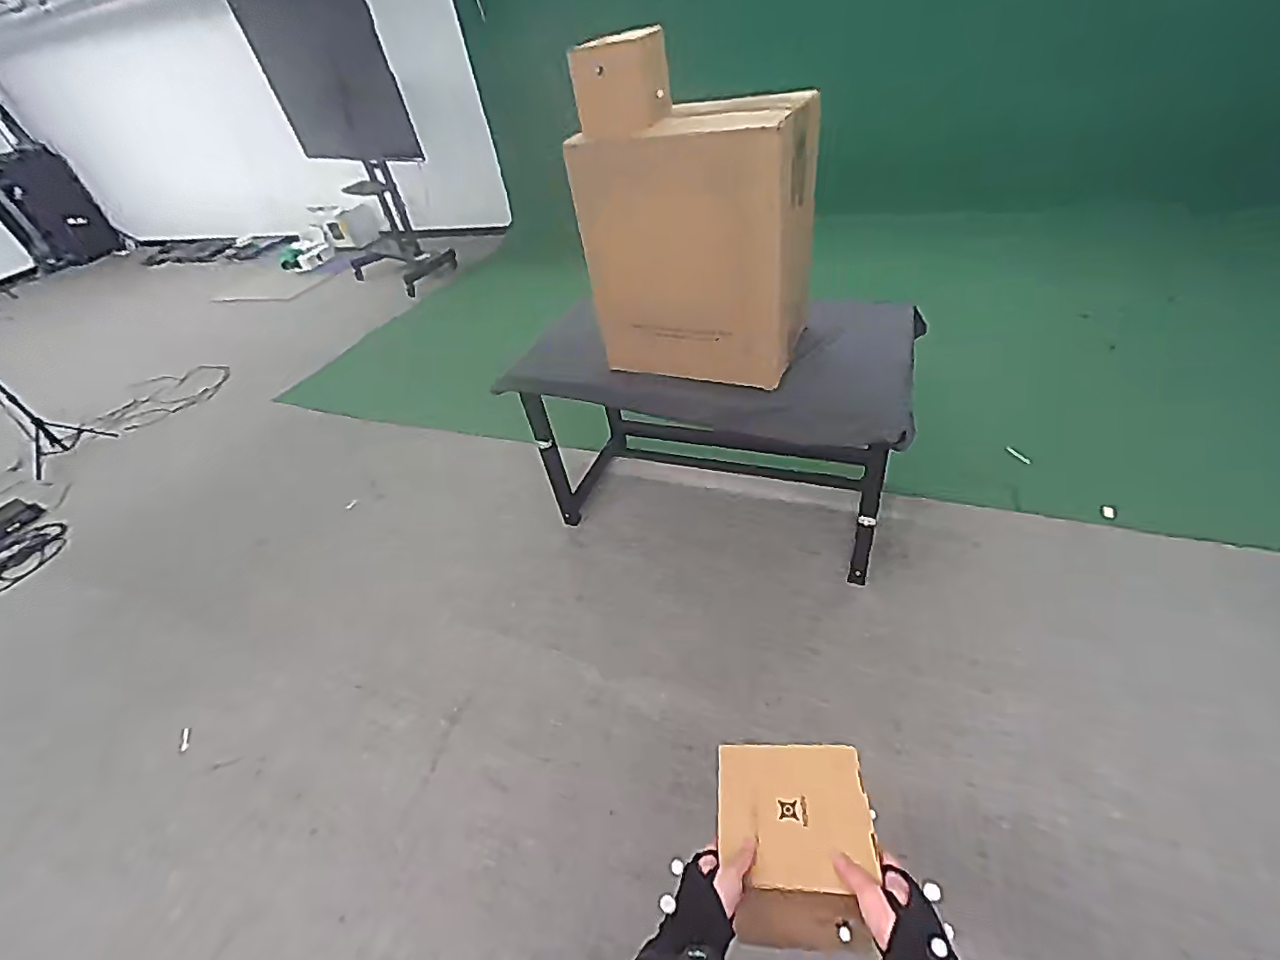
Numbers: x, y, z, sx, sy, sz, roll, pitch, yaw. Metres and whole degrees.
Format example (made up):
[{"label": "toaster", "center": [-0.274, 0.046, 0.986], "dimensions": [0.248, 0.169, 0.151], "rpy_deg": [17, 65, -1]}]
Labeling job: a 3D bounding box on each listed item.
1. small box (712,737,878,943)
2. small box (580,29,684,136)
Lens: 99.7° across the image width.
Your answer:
[{"label": "small box", "center": [0.192, 0.454, 0.689], "dimensions": [0.179, 0.176, 0.168], "rpy_deg": [-7, 30, 13]}, {"label": "small box", "center": [-0.012, -0.941, 1.290], "dimensions": [0.179, 0.176, 0.168], "rpy_deg": [12, 50, 26]}]
